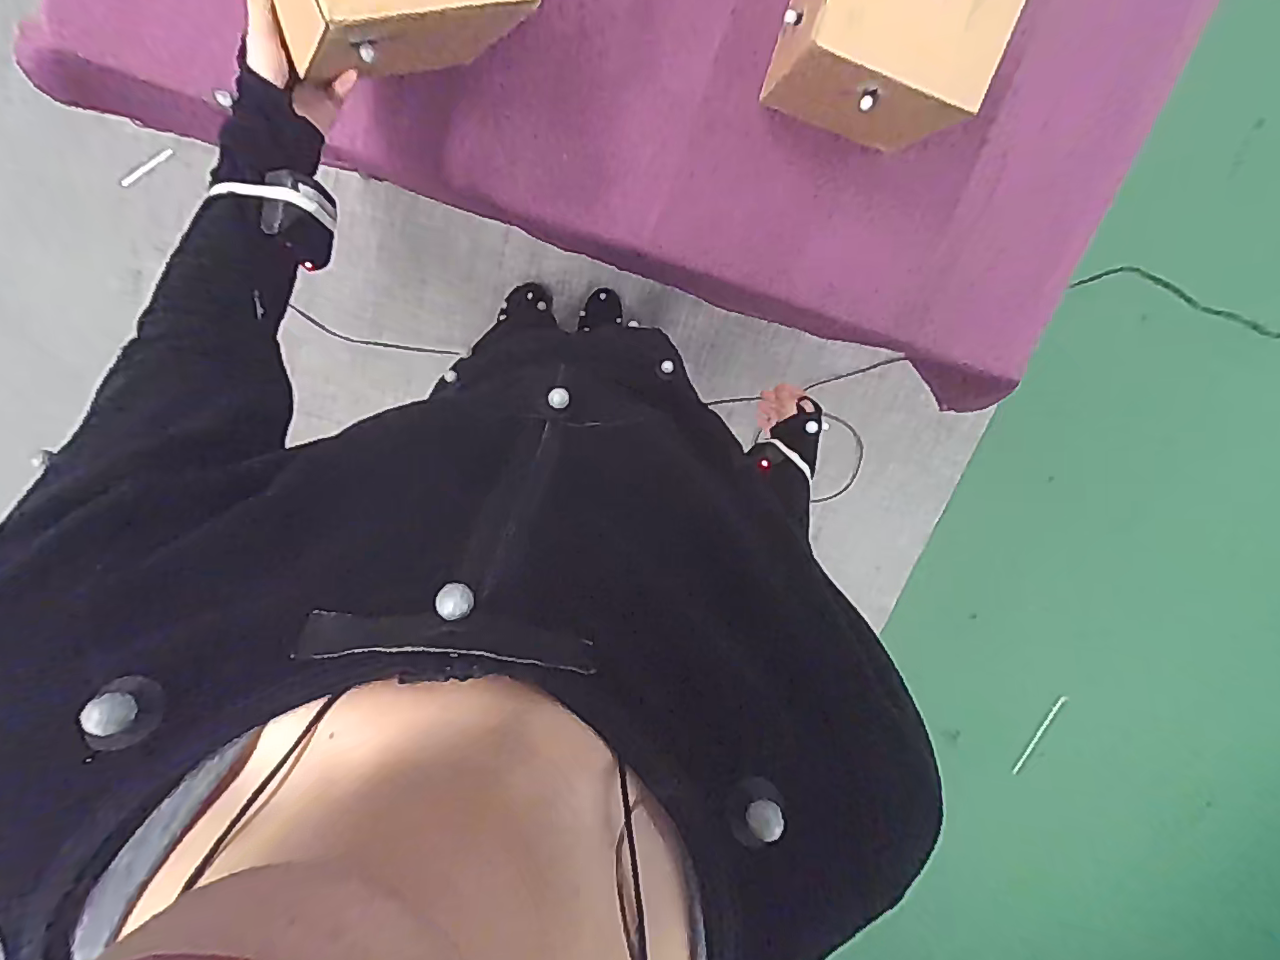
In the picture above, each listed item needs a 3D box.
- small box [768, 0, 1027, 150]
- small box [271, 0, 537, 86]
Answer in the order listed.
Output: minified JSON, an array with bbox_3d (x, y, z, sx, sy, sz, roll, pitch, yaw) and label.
[{"bbox_3d":[0.251,-0.462,0.544,0.179,0.176,0.168,15,108,-10],"label":"small box"},{"bbox_3d":[-0.201,-0.431,0.417,0.176,0.179,0.168,-30,123,-25],"label":"small box"}]
